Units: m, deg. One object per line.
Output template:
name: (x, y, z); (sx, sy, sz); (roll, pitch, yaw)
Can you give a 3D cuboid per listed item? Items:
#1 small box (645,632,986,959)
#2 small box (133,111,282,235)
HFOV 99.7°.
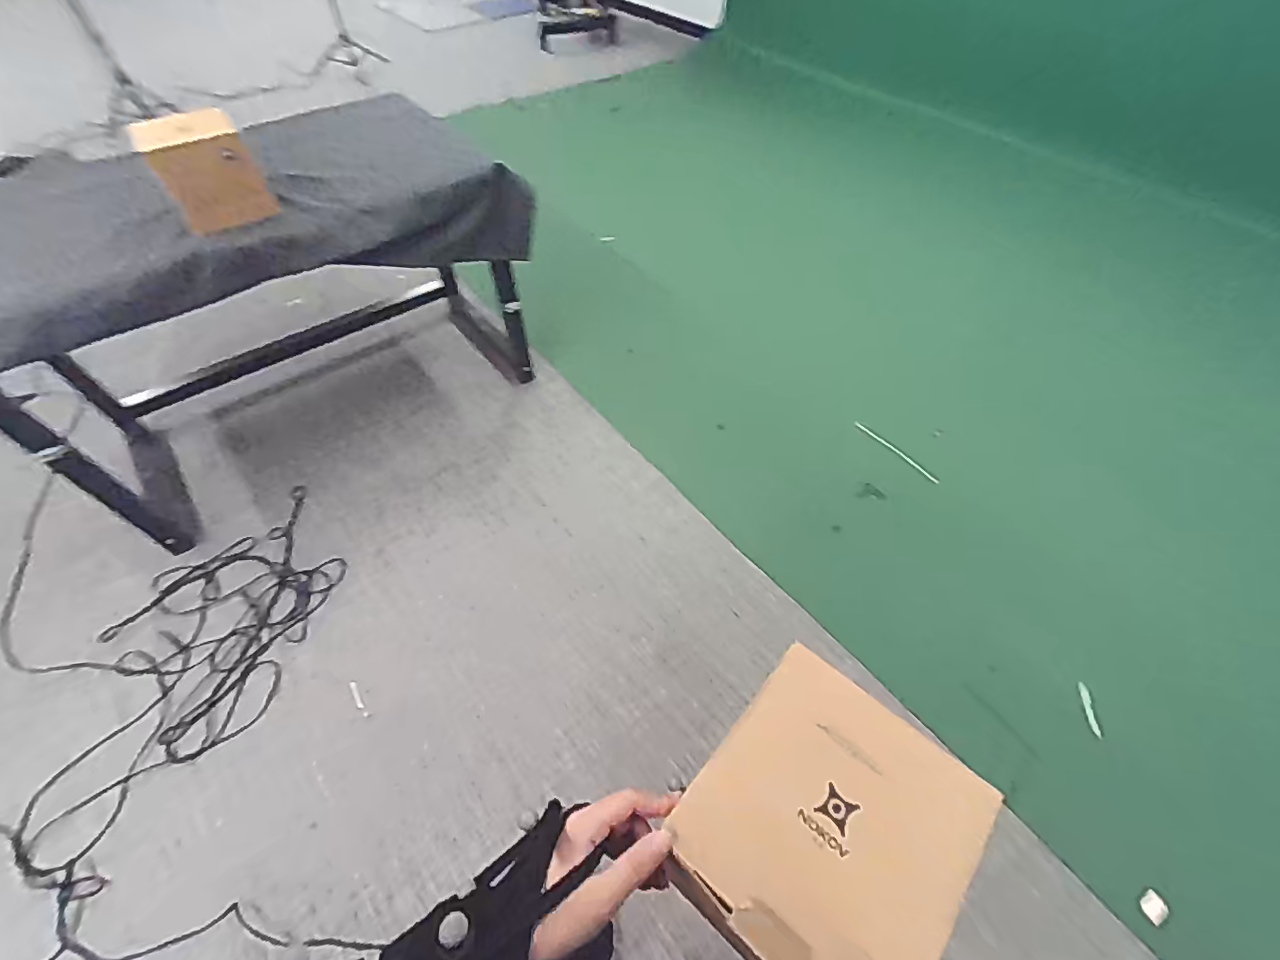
small box: (0.118, 0.262, 0.421); (0.168, 0.176, 0.179); (34, 58, 21)
small box: (-0.909, -0.648, 1.148); (0.179, 0.176, 0.168); (-31, 59, -22)
